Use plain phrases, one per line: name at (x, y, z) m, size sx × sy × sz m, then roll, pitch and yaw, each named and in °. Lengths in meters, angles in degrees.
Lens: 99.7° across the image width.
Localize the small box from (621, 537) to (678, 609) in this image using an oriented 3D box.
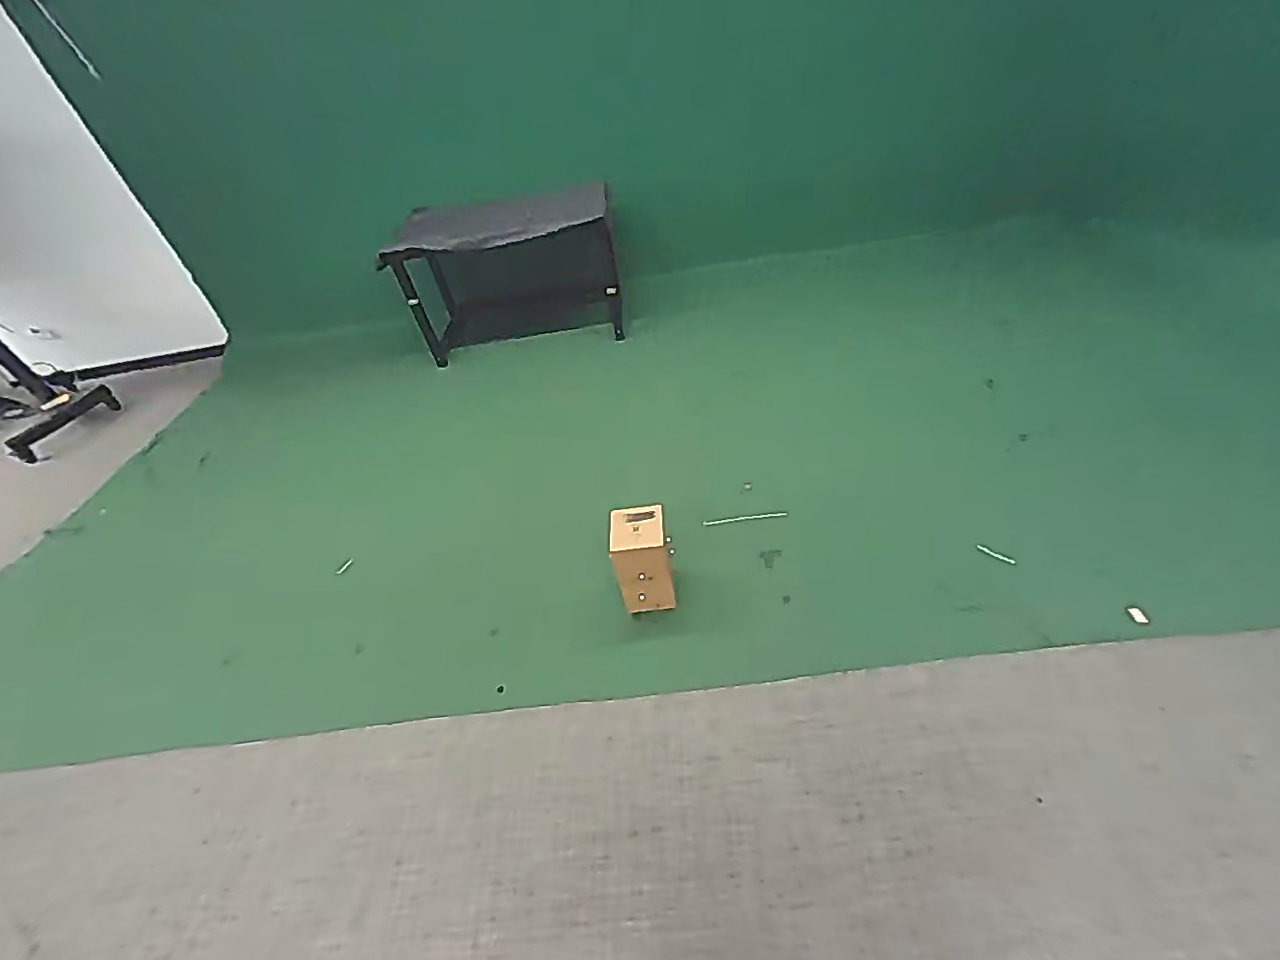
small box at (0.033, 0.318, 1.819) m, size 0.168 × 0.176 × 0.179 m, roll -8°, pitch 41°, yaw 6°
